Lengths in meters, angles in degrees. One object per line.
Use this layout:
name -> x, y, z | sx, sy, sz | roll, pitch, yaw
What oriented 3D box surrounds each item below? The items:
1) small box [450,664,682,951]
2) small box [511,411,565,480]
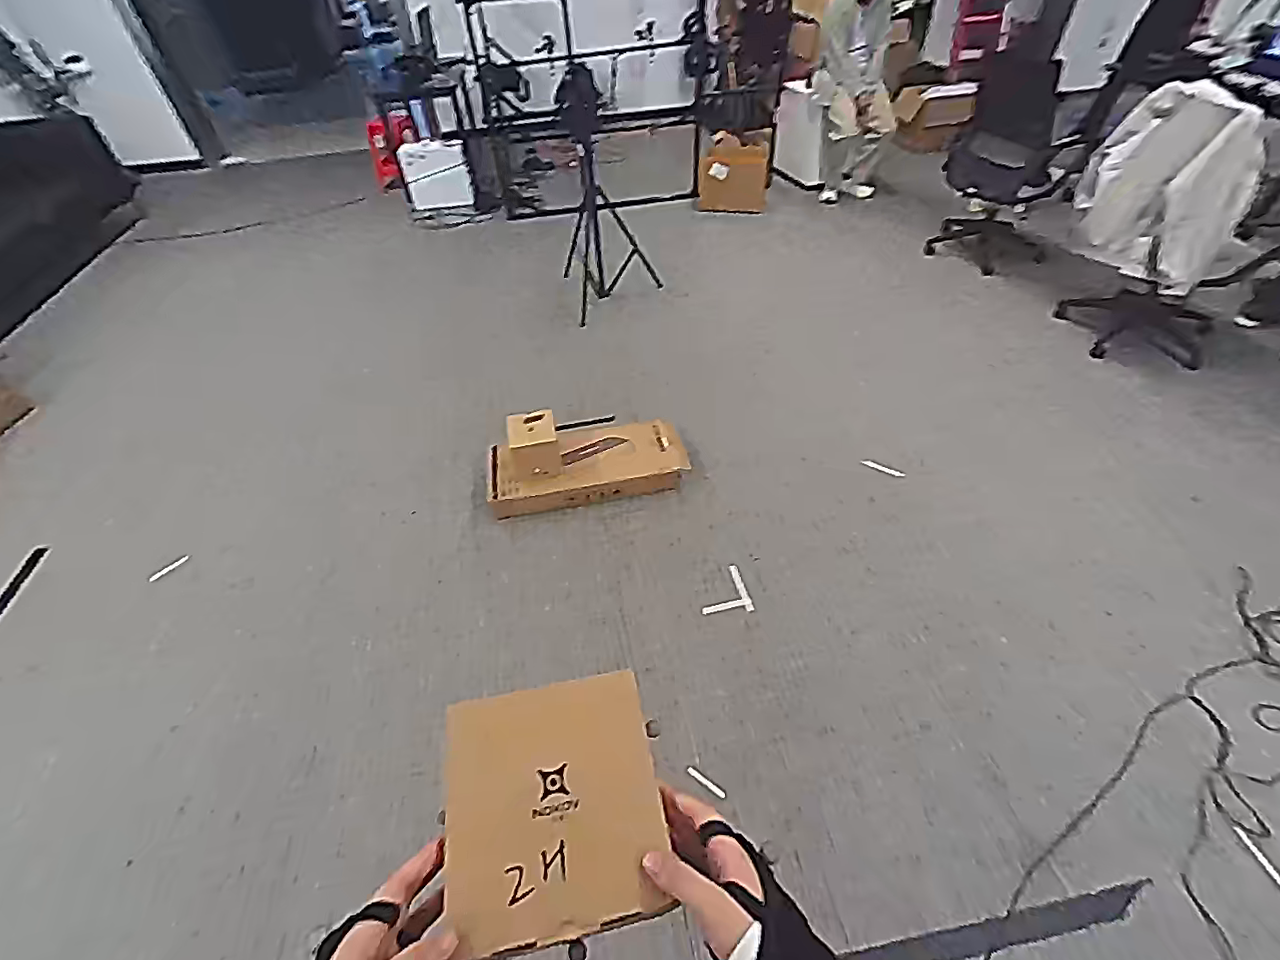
small box -> -0.068, 0.296, 0.491 | 0.168, 0.176, 0.179 | -9, 50, -9
small box -> -0.374, -0.126, 1.974 | 0.168, 0.176, 0.179 | -11, 47, -7
